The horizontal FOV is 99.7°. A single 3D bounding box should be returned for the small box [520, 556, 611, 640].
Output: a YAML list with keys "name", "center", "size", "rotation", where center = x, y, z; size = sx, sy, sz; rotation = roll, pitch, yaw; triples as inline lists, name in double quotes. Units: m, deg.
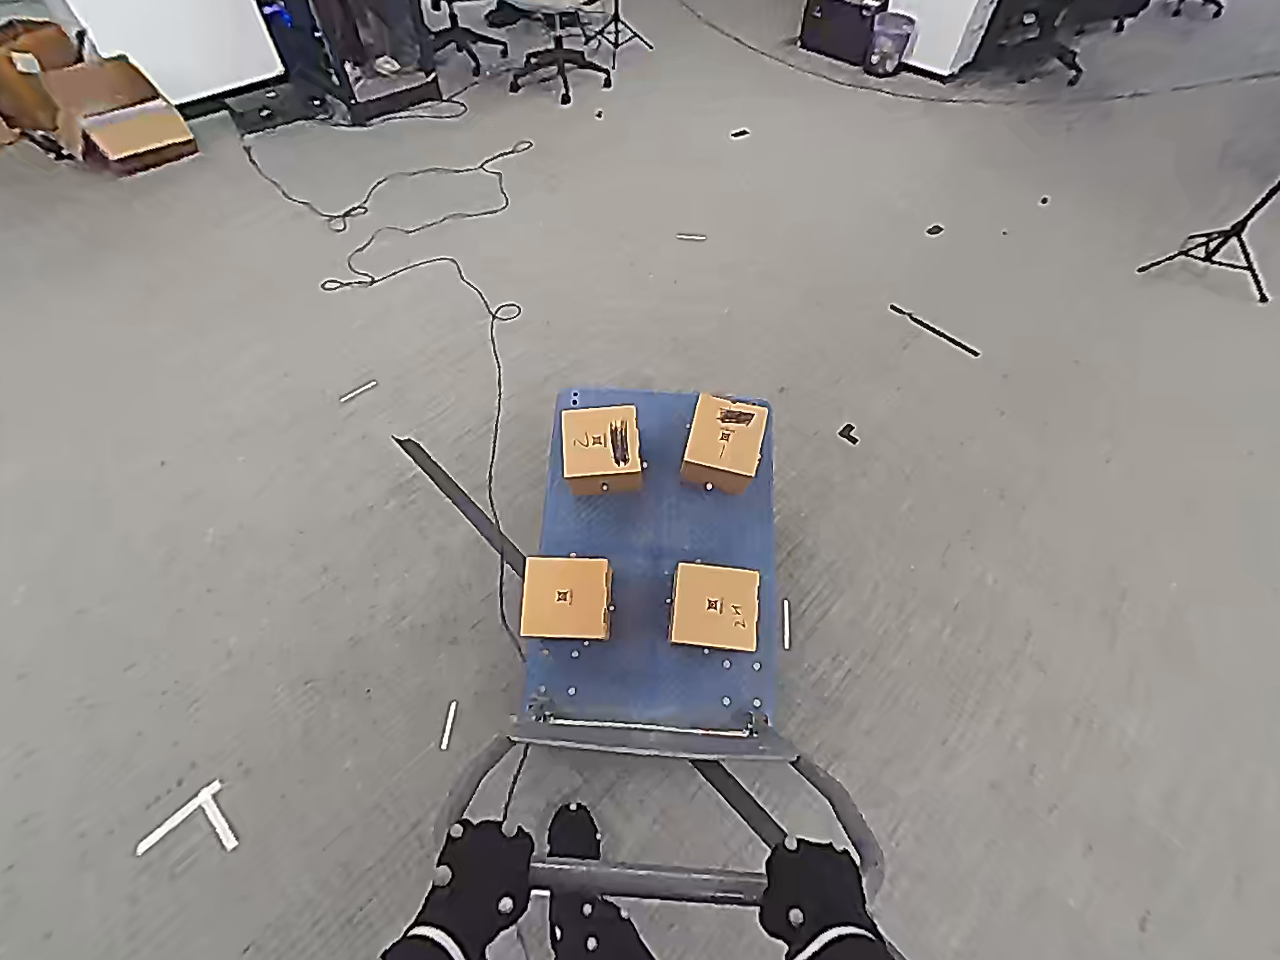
- name: "small box"
  center: [-0.157, 0.267, 1.203]
  size: [0.179, 0.176, 0.168]
  rotation: [2, 72, -1]

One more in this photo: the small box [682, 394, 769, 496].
- name: "small box"
  center: [0.201, -0.080, 1.313]
  size: [0.168, 0.176, 0.179]
  rotation: [14, 74, 4]

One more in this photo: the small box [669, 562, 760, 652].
- name: "small box"
  center: [0.159, 0.286, 1.197]
  size: [0.179, 0.176, 0.168]
  rotation: [7, 73, 2]
